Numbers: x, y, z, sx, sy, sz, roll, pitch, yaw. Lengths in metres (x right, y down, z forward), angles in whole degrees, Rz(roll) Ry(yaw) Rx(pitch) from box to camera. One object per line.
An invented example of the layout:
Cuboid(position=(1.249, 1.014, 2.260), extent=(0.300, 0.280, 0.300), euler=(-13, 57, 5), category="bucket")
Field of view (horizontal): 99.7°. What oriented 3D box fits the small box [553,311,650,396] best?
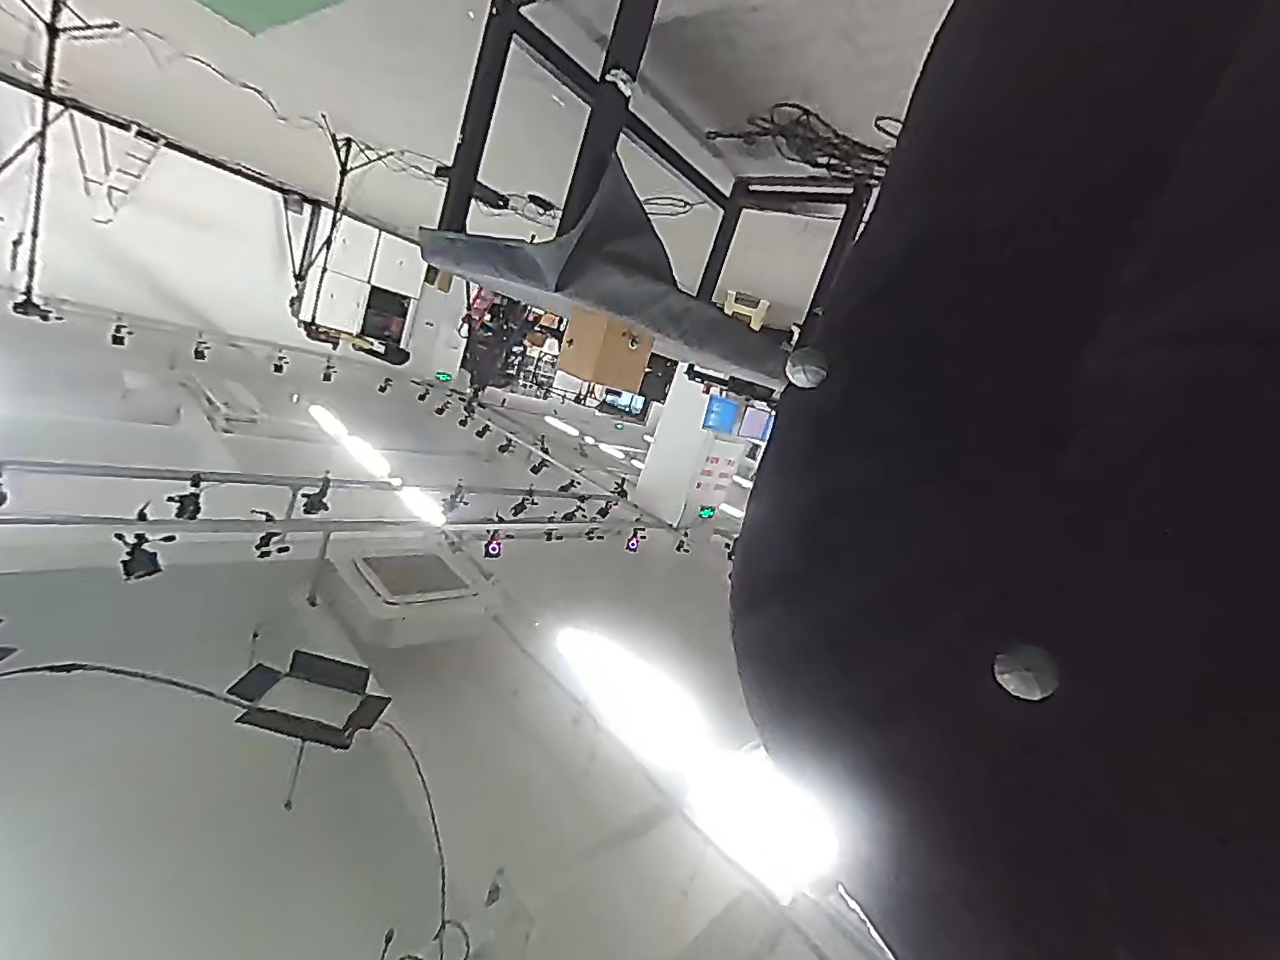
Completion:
Cuboid(position=(-0.100, -0.339, 1.432), extent=(0.168, 0.176, 0.179), euler=(6, -164, -43), category="small box")
